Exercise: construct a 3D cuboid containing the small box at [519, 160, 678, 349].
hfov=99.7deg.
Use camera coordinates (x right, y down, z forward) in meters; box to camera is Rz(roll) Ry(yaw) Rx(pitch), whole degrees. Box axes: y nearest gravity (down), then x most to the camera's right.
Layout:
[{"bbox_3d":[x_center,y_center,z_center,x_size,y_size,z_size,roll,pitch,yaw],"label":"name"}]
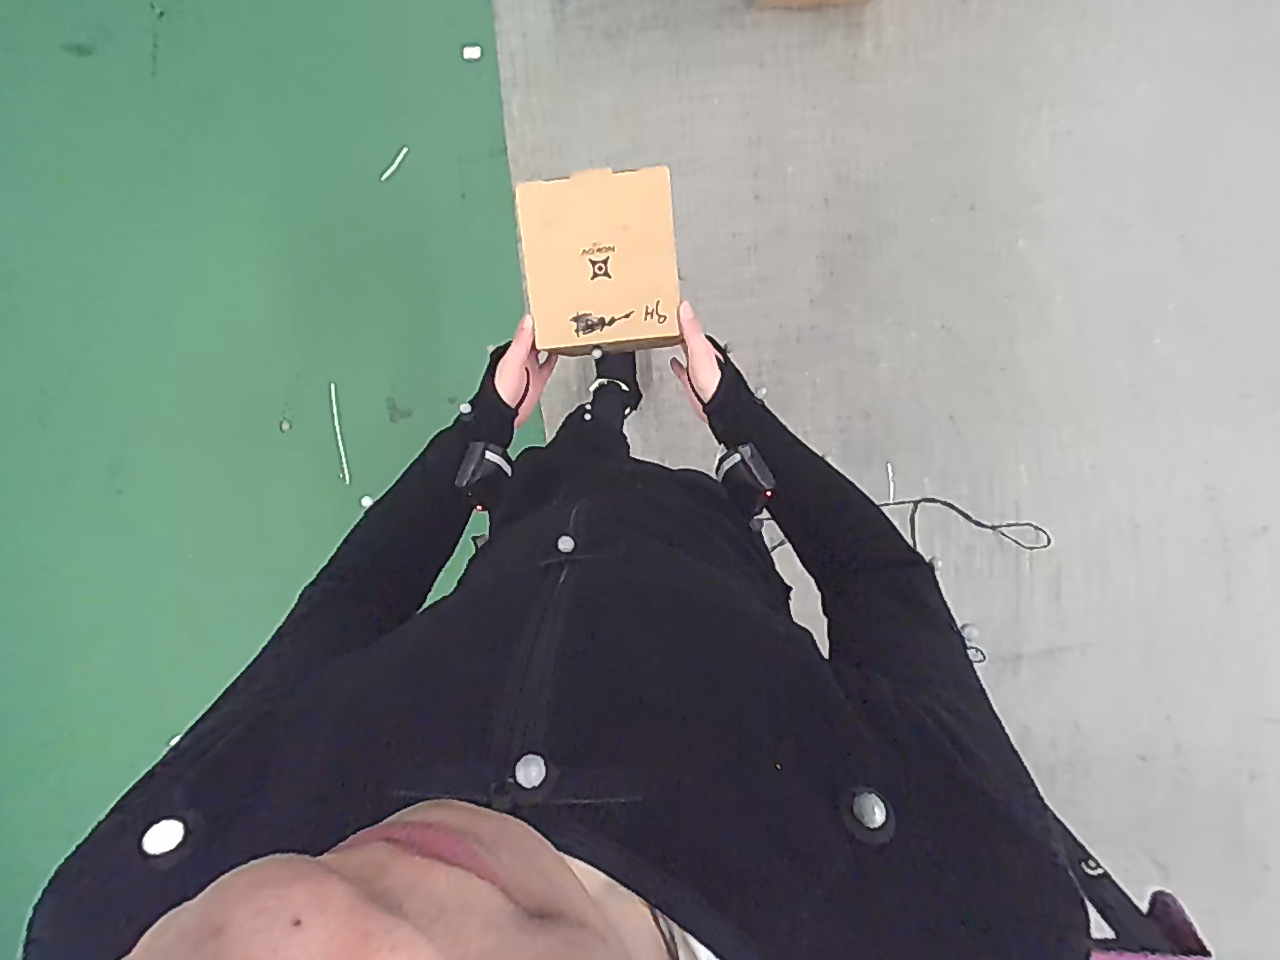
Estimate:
[{"bbox_3d":[-0.040,-0.262,0.668,0.168,0.176,0.179,-3,100,5],"label":"small box"}]
